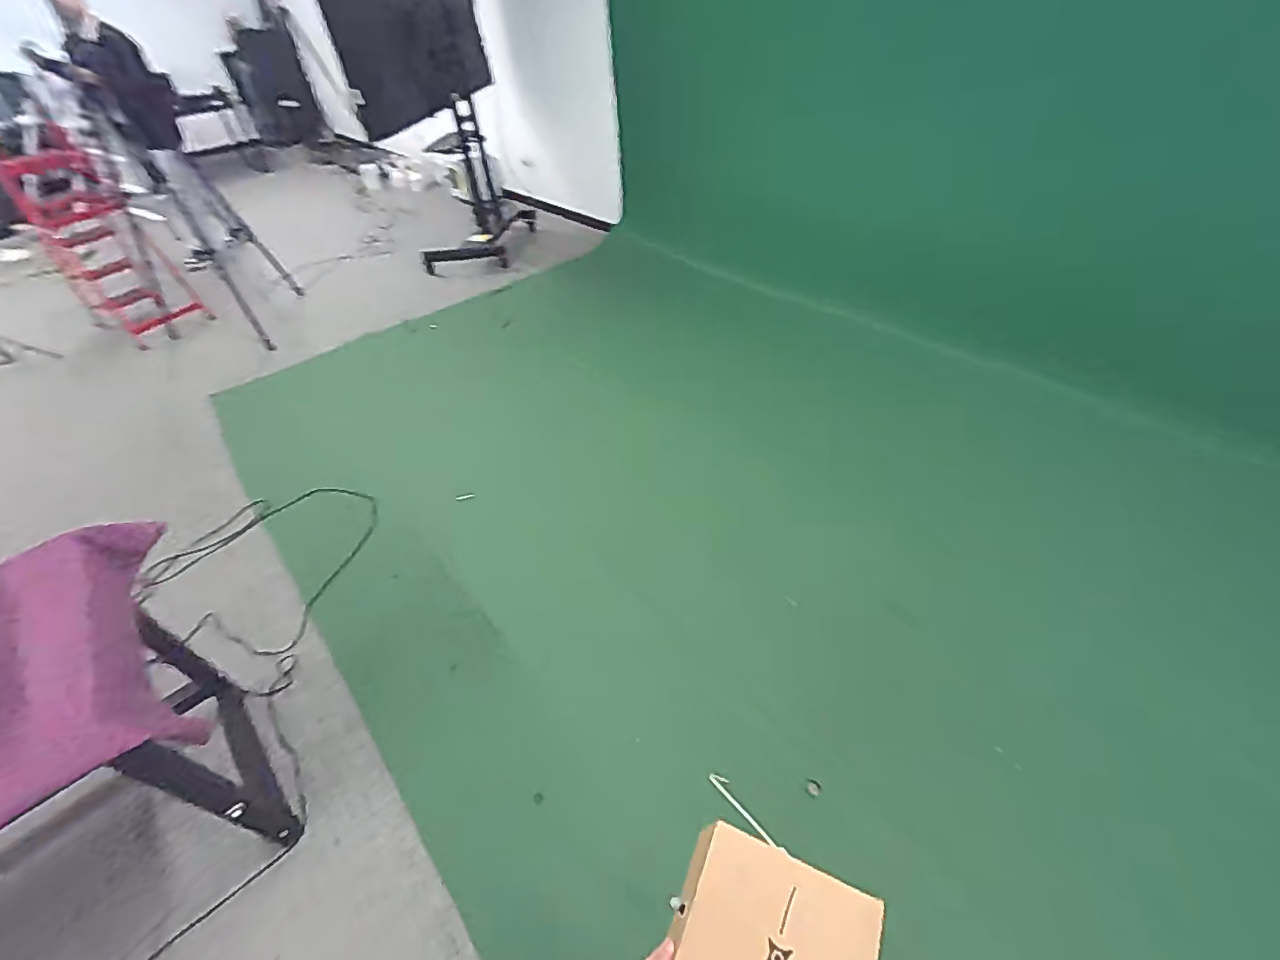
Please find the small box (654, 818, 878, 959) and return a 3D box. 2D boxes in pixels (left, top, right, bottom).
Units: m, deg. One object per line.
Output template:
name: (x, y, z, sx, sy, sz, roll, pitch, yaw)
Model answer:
small box: (0.110, 0.471, 0.533, 0.168, 0.176, 0.179, 20, 55, 12)
